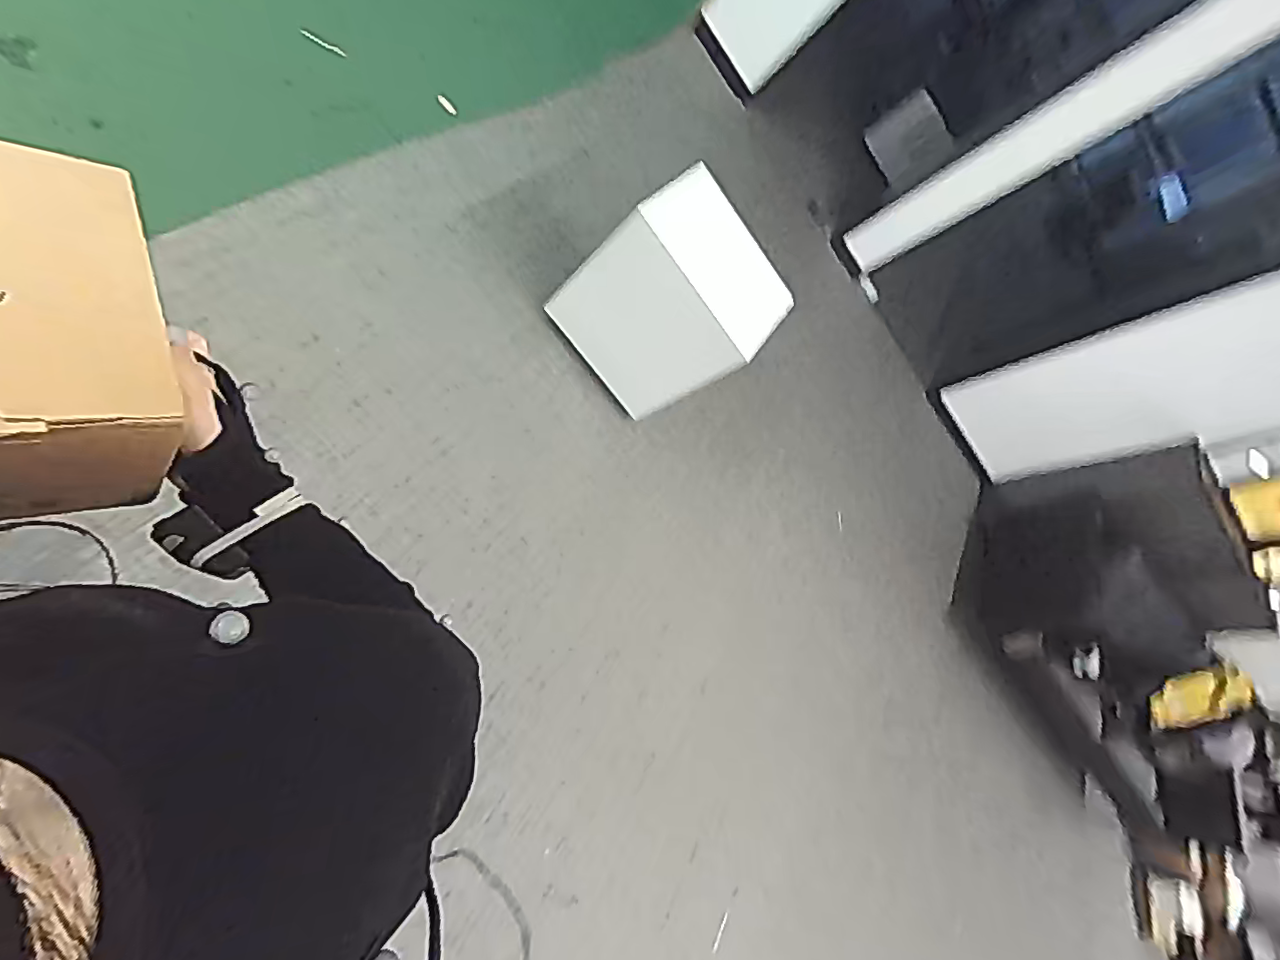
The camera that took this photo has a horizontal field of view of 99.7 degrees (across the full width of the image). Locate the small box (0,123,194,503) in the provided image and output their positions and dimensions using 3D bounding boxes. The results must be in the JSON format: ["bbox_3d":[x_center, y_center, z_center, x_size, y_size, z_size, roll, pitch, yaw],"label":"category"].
[{"bbox_3d":[-0.404,-0.092,0.324,0.168,0.176,0.179,-10,80,-51],"label":"small box"}]
